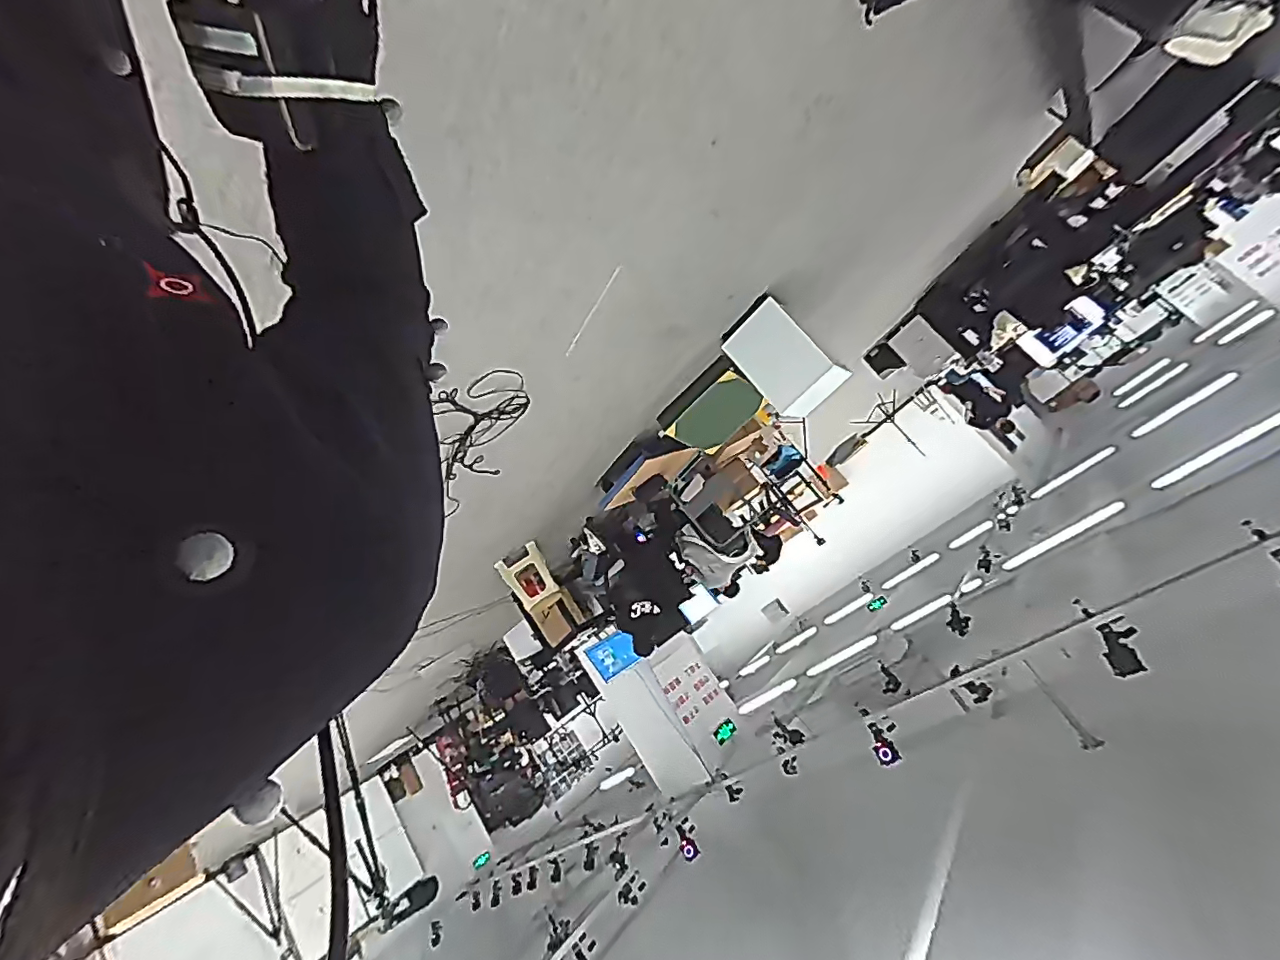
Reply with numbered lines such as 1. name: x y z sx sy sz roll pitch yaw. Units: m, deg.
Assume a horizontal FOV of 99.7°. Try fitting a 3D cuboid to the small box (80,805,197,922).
1. small box: -1.250 0.956 1.355 0.179 0.176 0.168 -19 156 -44
